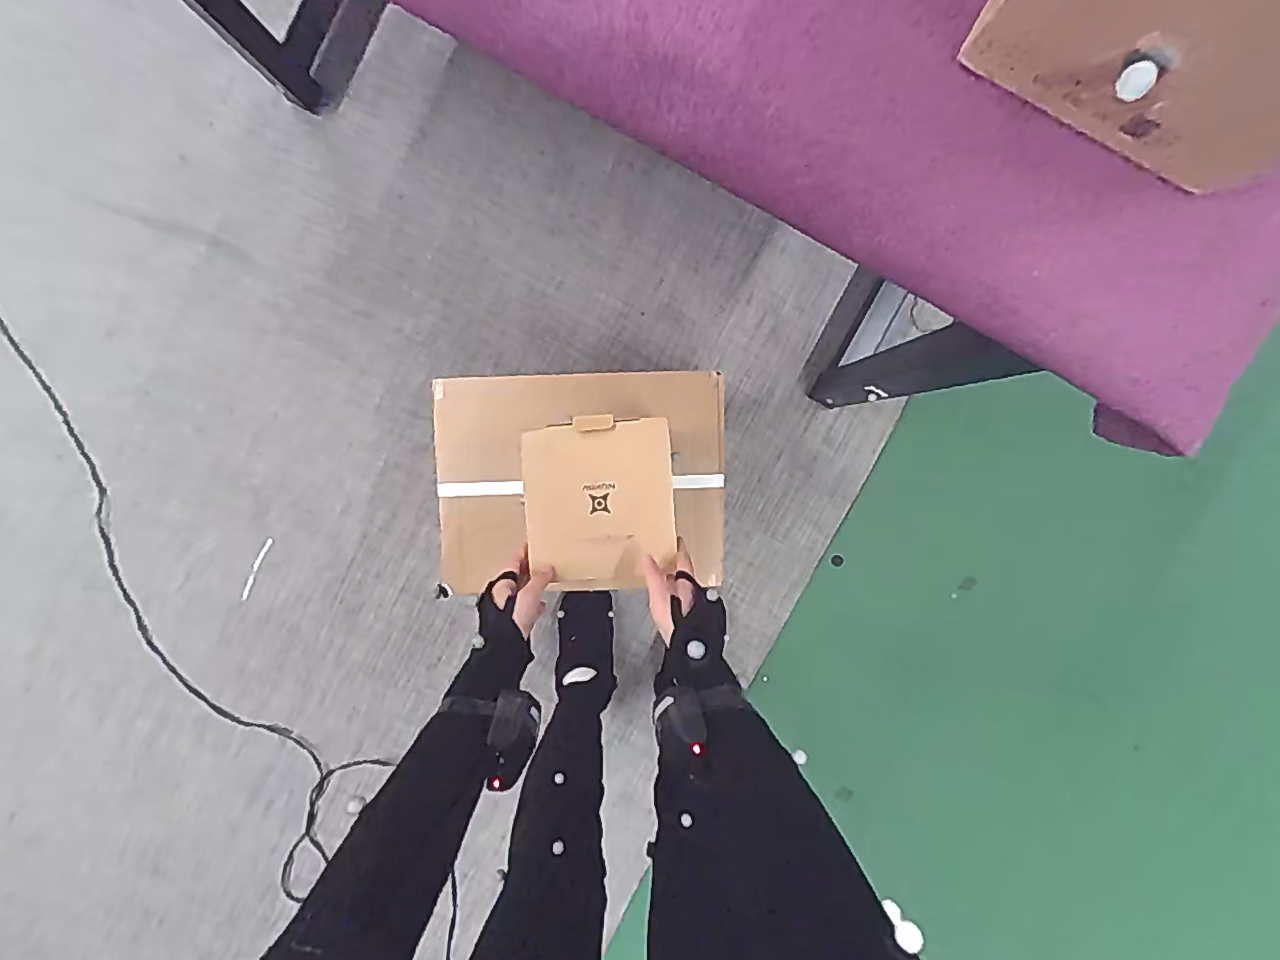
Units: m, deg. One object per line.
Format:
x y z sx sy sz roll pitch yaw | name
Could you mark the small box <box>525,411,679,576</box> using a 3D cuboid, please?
-0.044 0.017 0.670 0.168 0.176 0.179 -3 90 0 | small box
